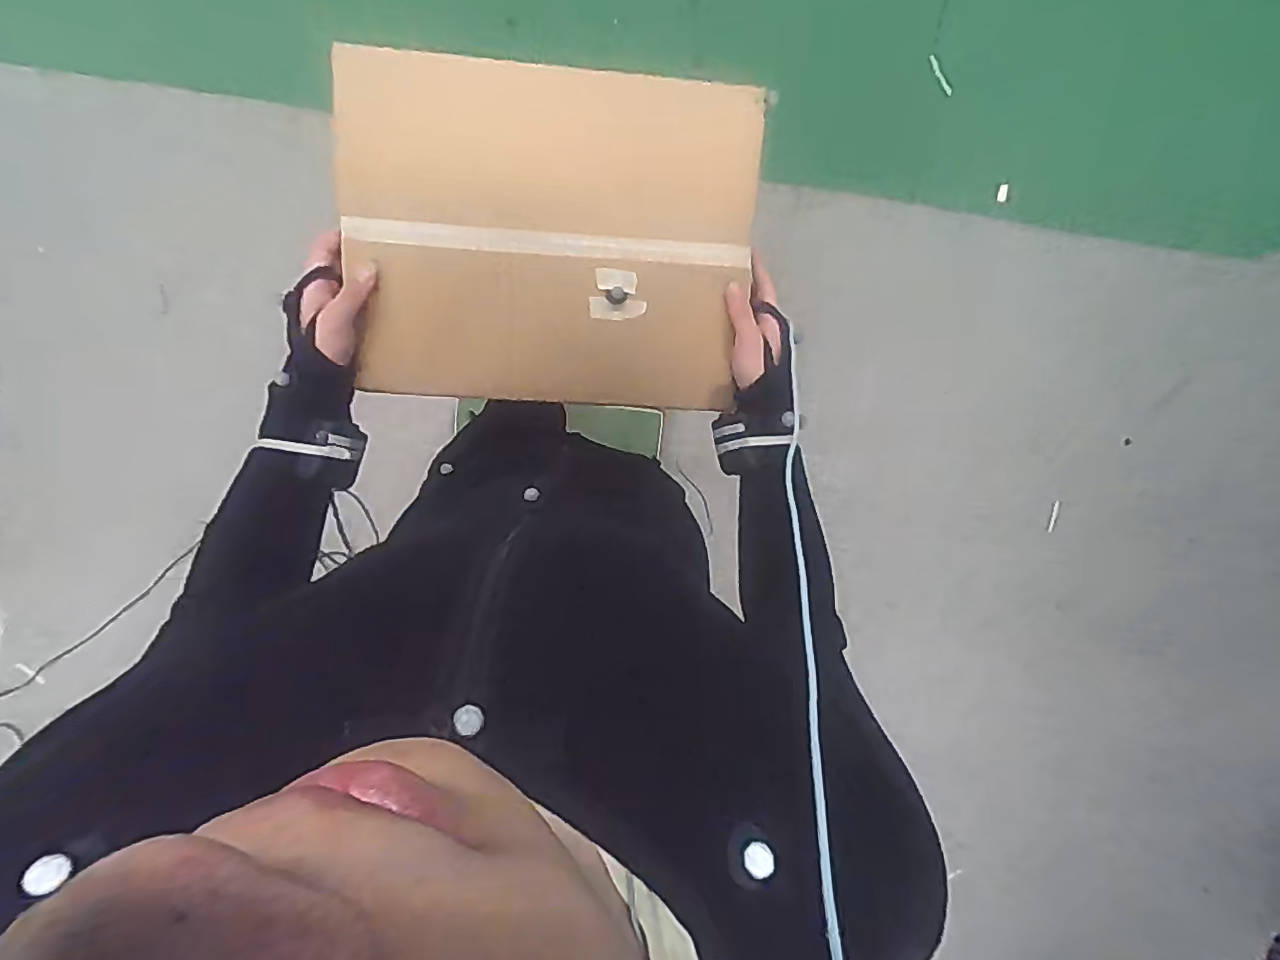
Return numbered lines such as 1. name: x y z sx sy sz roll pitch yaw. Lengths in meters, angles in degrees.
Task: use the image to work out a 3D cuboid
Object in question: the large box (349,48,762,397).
1. large box: -0.095 -0.276 0.694 0.408 0.320 0.320 2 102 -5
